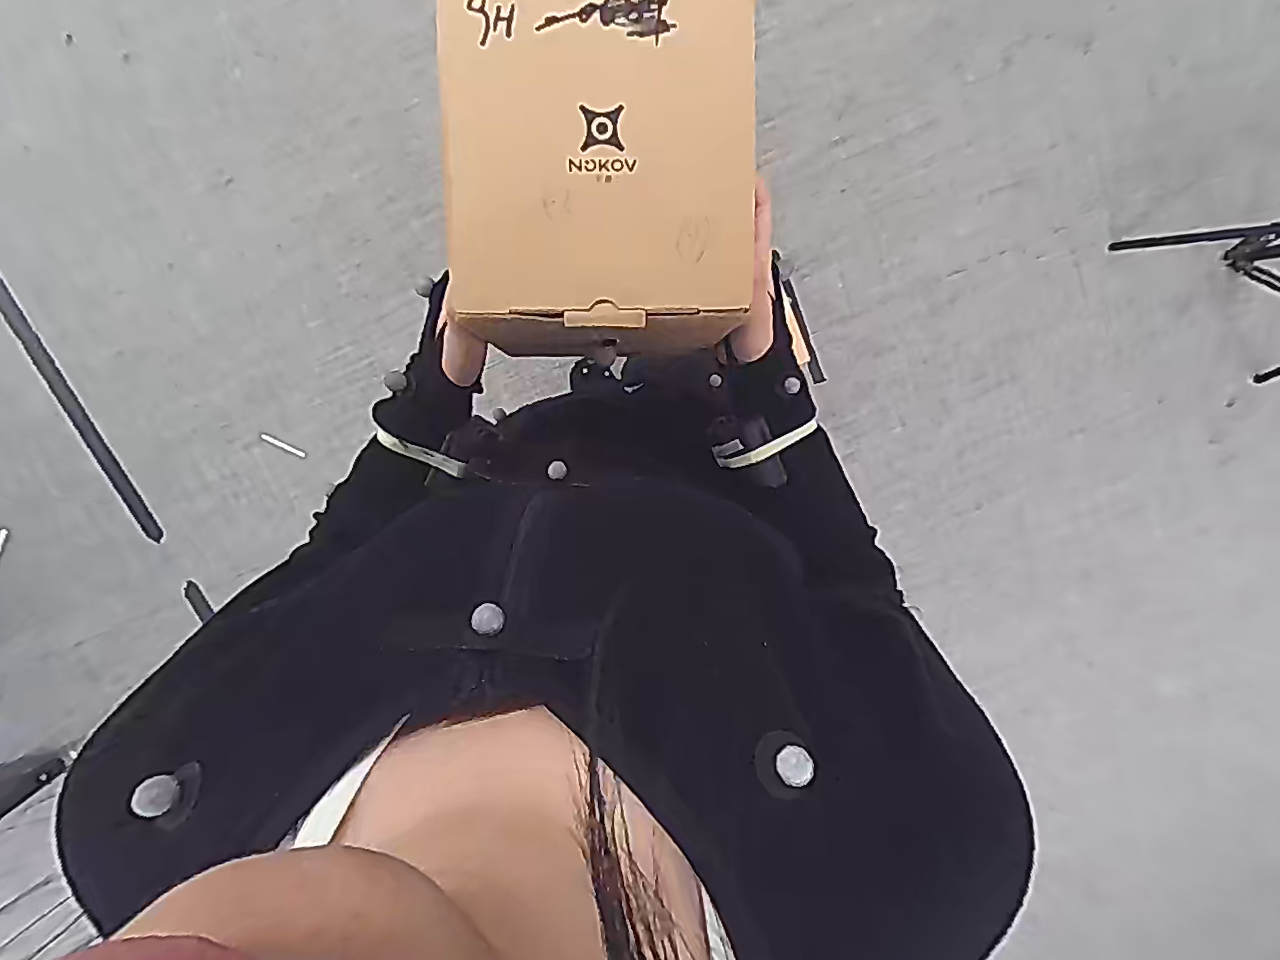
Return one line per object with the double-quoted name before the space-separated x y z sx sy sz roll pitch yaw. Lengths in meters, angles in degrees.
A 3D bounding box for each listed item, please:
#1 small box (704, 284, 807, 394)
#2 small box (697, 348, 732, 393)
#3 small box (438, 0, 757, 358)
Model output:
"small box" 0.236 -0.303 1.182 0.168 0.176 0.179 -24 102 4
"small box" 0.236 -0.334 1.344 0.168 0.176 0.179 -26 102 4
"small box" -0.025 -0.177 0.365 0.168 0.176 0.179 -1 96 -4
